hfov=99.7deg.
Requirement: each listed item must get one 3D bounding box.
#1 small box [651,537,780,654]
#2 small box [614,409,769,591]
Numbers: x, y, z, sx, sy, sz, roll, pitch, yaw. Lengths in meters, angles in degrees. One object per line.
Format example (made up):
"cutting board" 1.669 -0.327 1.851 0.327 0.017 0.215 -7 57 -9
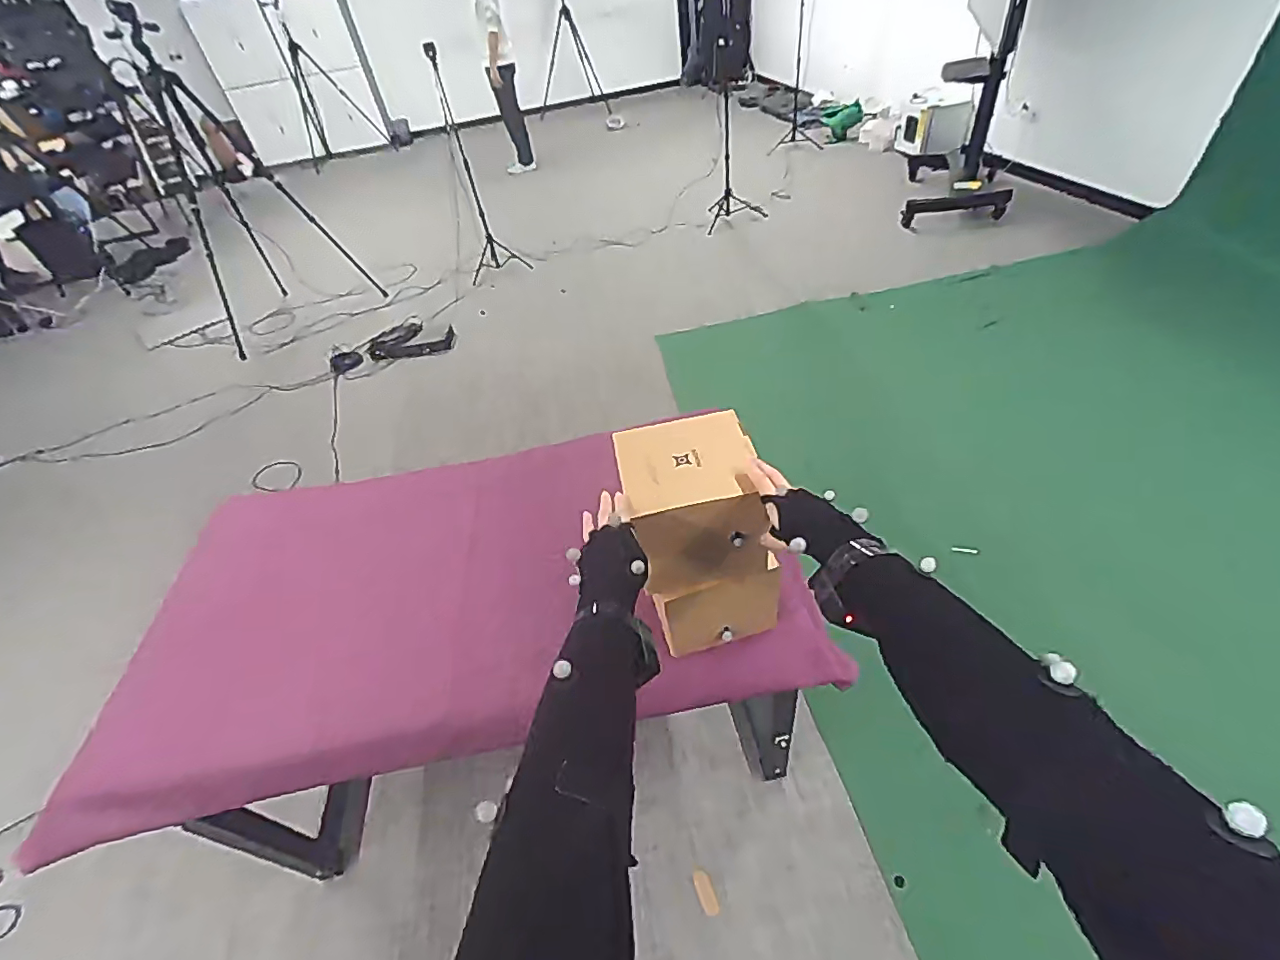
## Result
"small box" 0.105 0.148 0.858 0.179 0.176 0.168 -16 44 -4
"small box" 0.069 0.030 0.750 0.179 0.176 0.168 -12 44 0
